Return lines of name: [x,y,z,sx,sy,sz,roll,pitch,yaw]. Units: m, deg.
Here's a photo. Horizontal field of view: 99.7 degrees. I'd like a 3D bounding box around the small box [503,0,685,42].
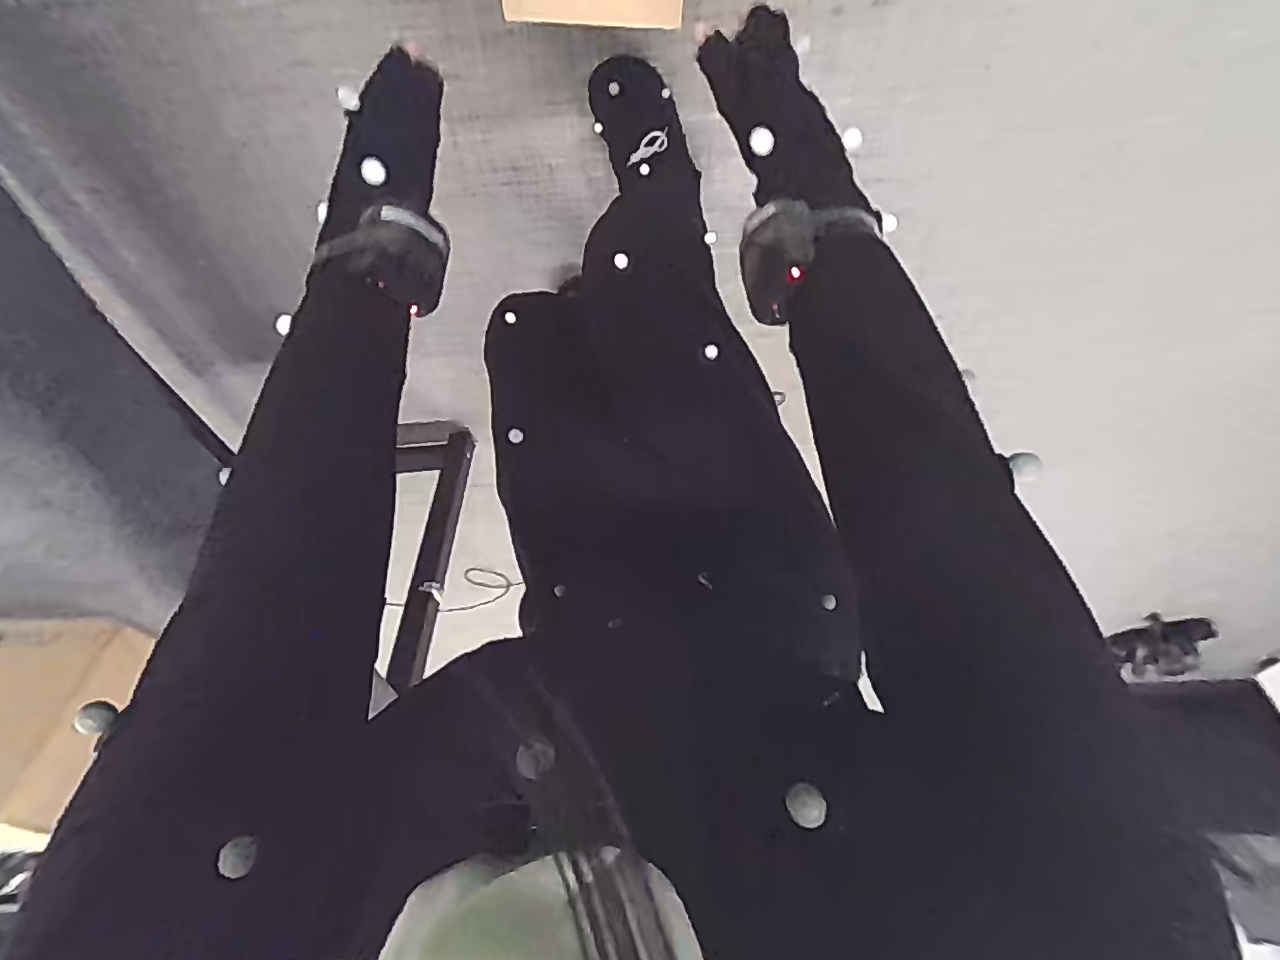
small box: [-0.038,-0.529,0.487,0.168,0.176,0.179,2,140,-2]
